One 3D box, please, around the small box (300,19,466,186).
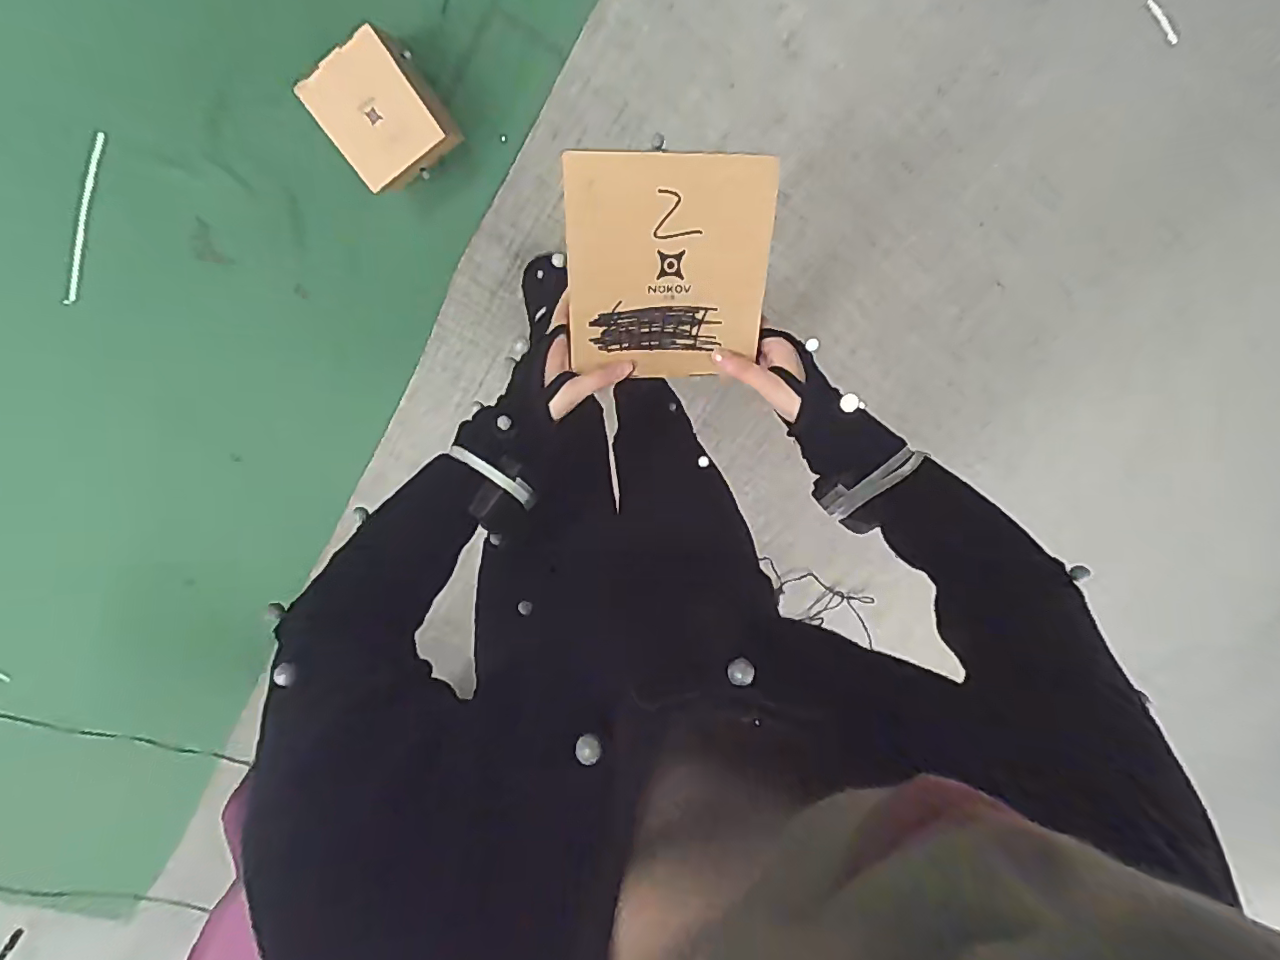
[{"bbox_3d":[-0.437,-0.649,0.952,0.168,0.176,0.179,-28,120,13],"label":"small box"}]
